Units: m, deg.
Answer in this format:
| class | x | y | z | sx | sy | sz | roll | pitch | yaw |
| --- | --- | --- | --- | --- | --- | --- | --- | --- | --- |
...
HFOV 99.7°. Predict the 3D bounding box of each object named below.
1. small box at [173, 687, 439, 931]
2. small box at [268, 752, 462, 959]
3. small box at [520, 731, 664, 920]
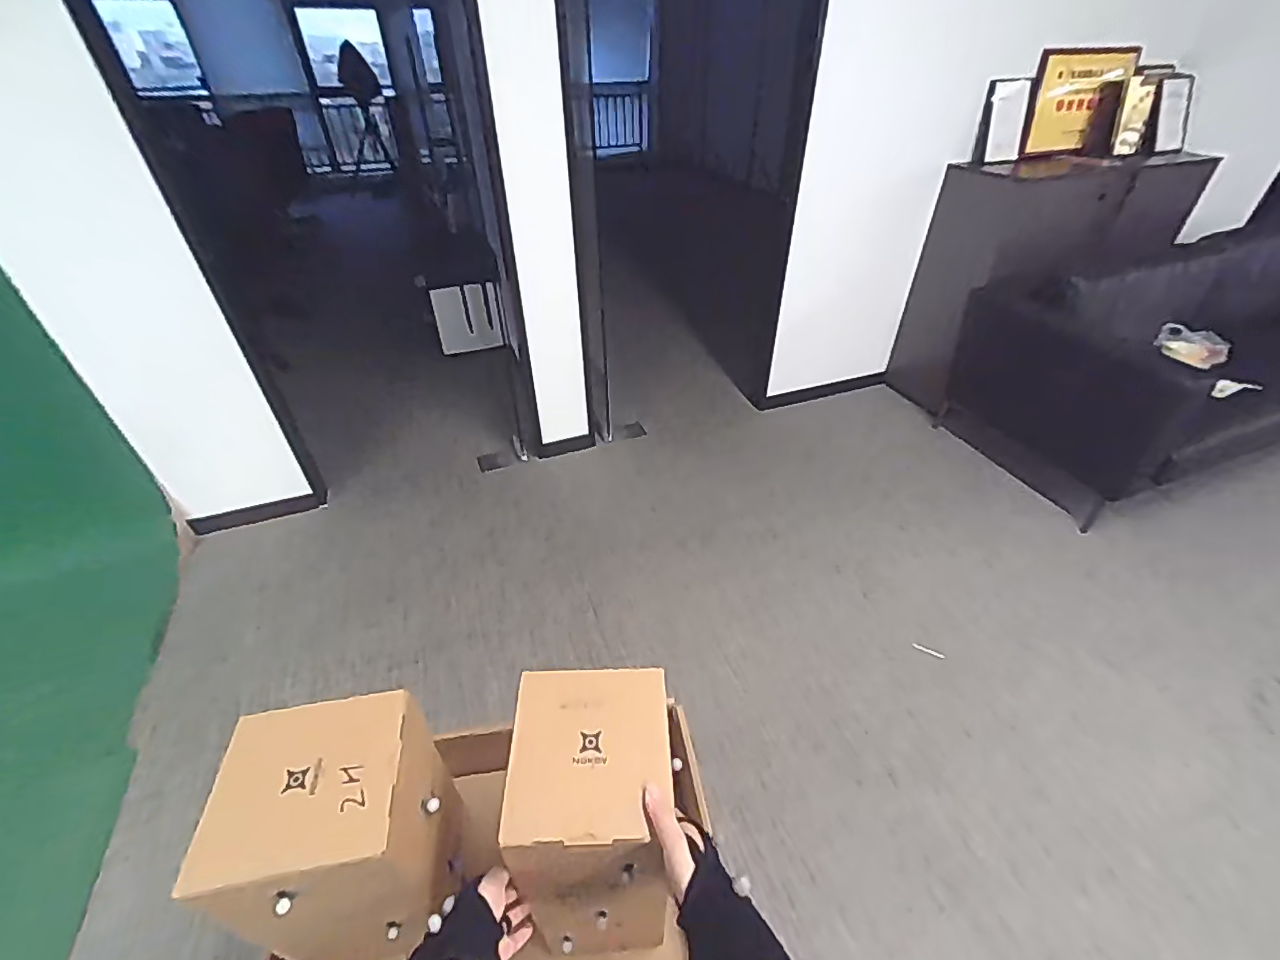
| class | x | y | z | sx | sy | sz | roll | pitch | yaw |
| --- | --- | --- | --- | --- | --- | --- | --- | --- | --- |
| small box | -0.333 | 0.354 | 0.586 | 0.179 | 0.176 | 0.168 | -6 | 40 | -9 |
| small box | -0.338 | 0.481 | 0.692 | 0.179 | 0.176 | 0.168 | -5 | 40 | -9 |
| small box | -0.057 | 0.460 | 0.717 | 0.168 | 0.176 | 0.179 | -1 | 40 | -3 |
